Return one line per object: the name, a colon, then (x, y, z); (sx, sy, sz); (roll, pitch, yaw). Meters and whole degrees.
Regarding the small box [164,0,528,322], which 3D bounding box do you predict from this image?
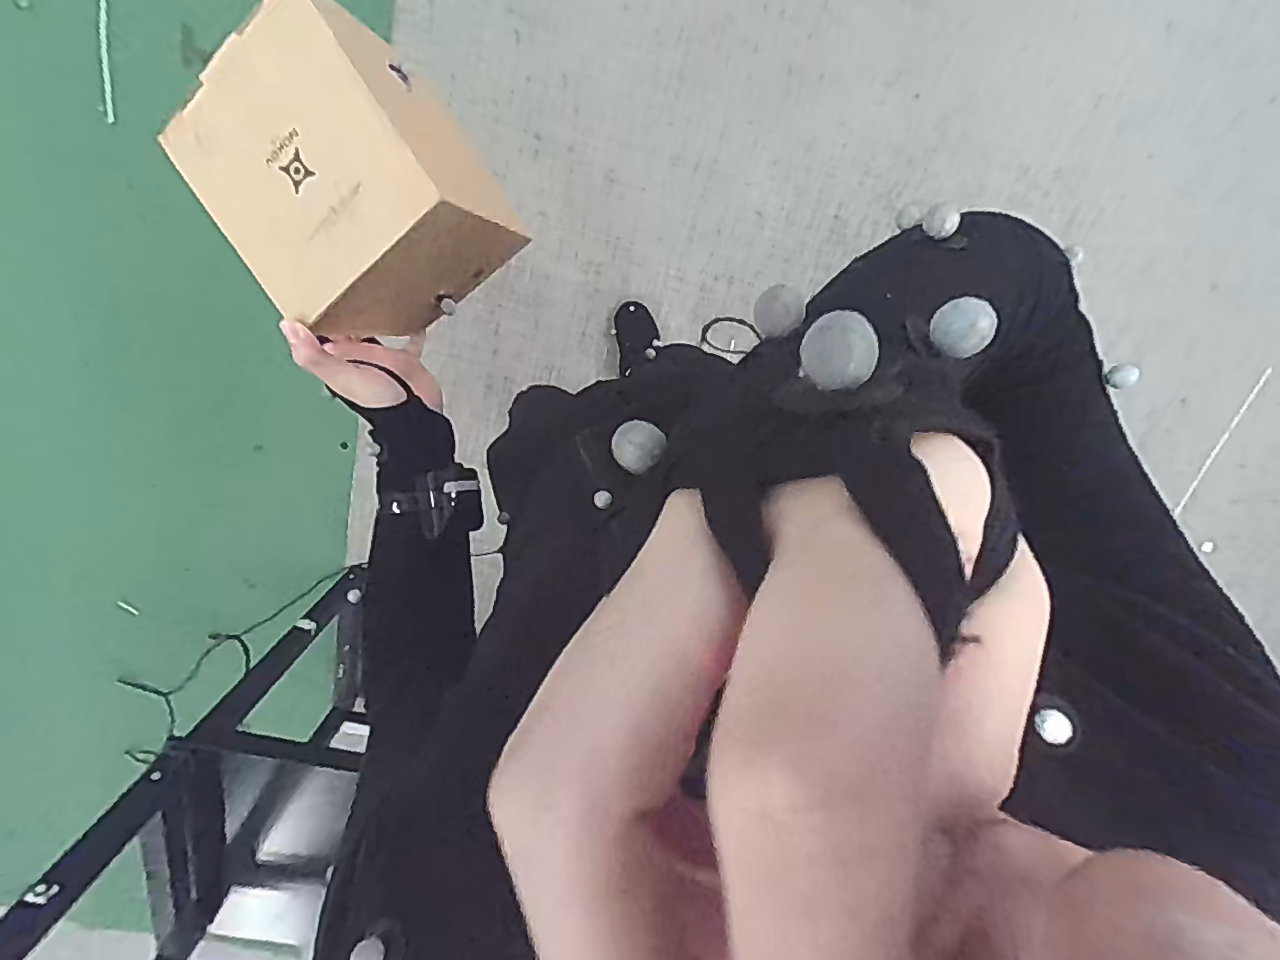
small box: (-0.229, -0.253, 0.466); (0.168, 0.176, 0.179); (-30, 97, 17)
